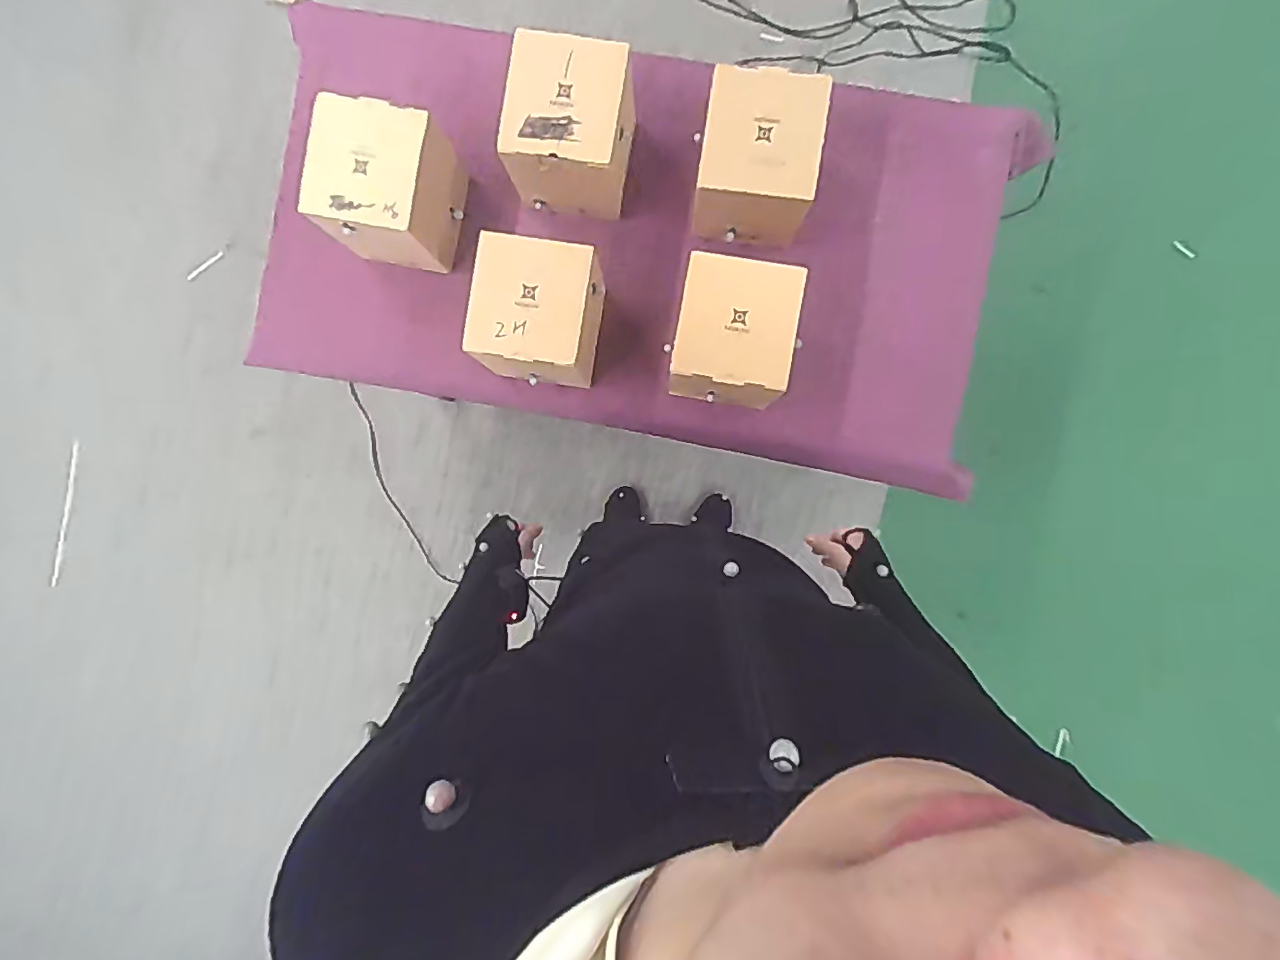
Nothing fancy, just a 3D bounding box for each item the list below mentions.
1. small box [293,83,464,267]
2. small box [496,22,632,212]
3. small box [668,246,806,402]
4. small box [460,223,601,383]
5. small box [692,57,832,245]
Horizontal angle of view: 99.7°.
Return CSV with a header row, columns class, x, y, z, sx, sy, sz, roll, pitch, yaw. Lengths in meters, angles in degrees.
class,x,y,z,sx,sy,sz,roll,pitch,yaw
small box,-0.390,-0.460,0.840,0.168,0.176,0.179,12,91,3
small box,-0.106,-0.542,0.832,0.168,0.176,0.179,10,91,2
small box,0.137,-0.227,0.829,0.168,0.176,0.179,10,91,2
small box,-0.157,-0.262,0.836,0.168,0.176,0.179,10,90,2
small box,0.174,-0.489,0.826,0.168,0.176,0.179,9,92,3
